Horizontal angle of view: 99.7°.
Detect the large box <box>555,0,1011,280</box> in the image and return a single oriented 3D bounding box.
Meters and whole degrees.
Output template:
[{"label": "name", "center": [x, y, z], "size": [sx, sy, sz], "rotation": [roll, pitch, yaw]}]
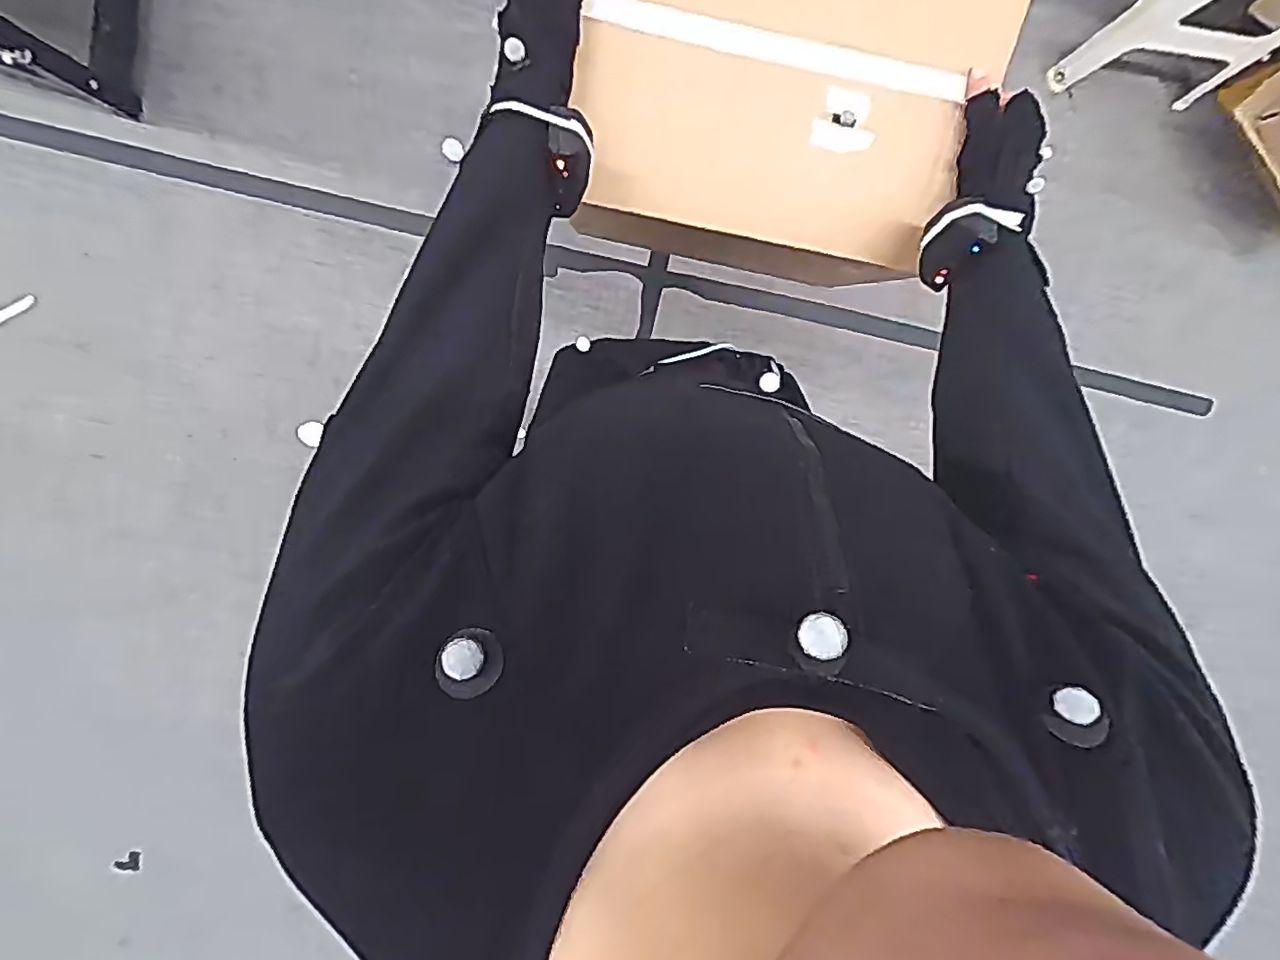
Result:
[{"label": "large box", "center": [0.127, -0.442, 0.651], "size": [0.408, 0.320, 0.320], "rotation": [10, 108, -5]}]
